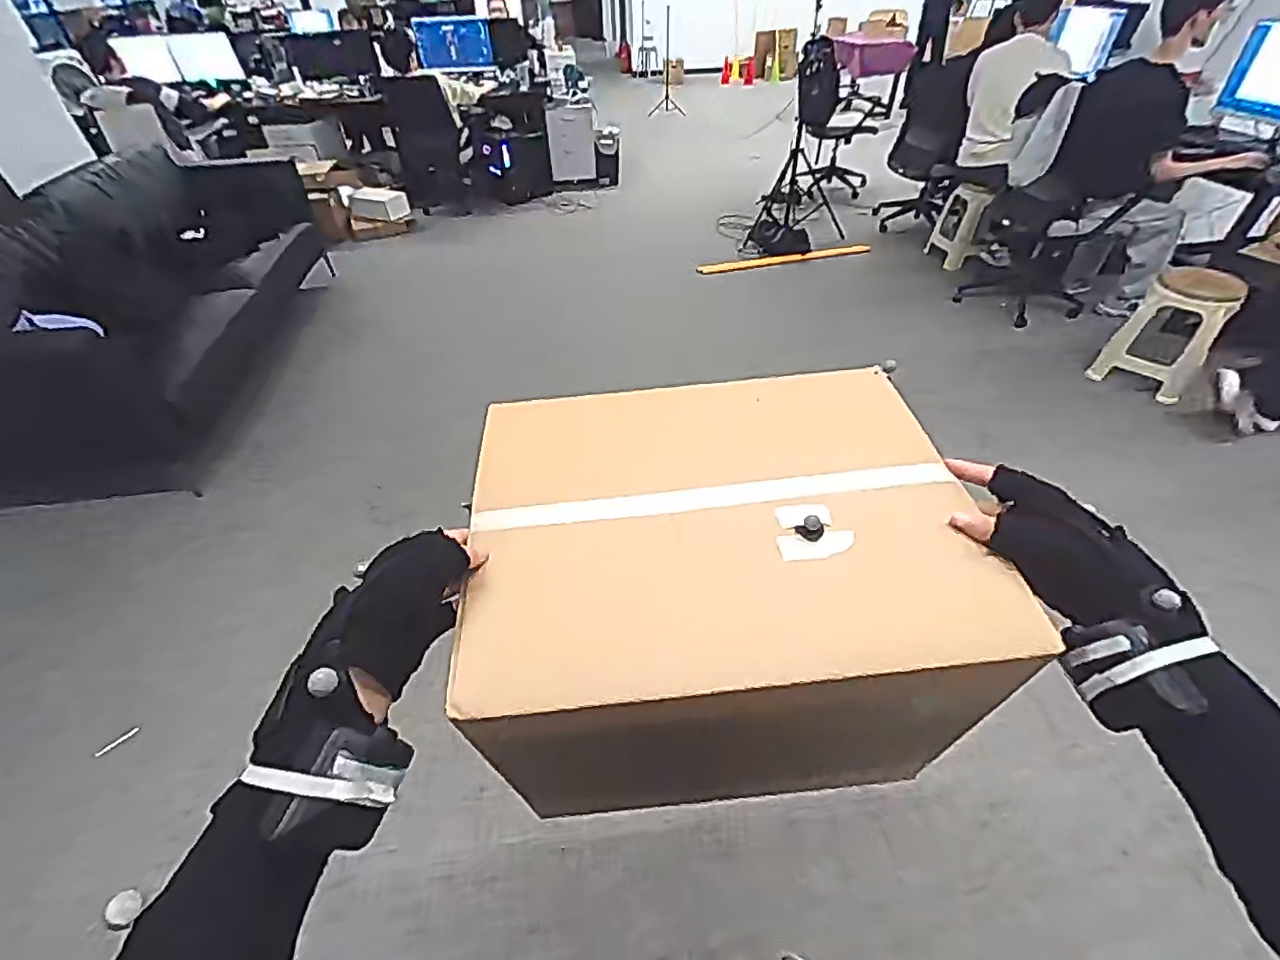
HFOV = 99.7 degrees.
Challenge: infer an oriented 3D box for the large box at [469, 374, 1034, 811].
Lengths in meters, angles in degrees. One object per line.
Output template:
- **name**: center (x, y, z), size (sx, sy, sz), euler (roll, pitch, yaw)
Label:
- **large box**: center (0.071, 0.122, 0.576), size (0.408, 0.320, 0.320), euler (-6, 48, -1)
